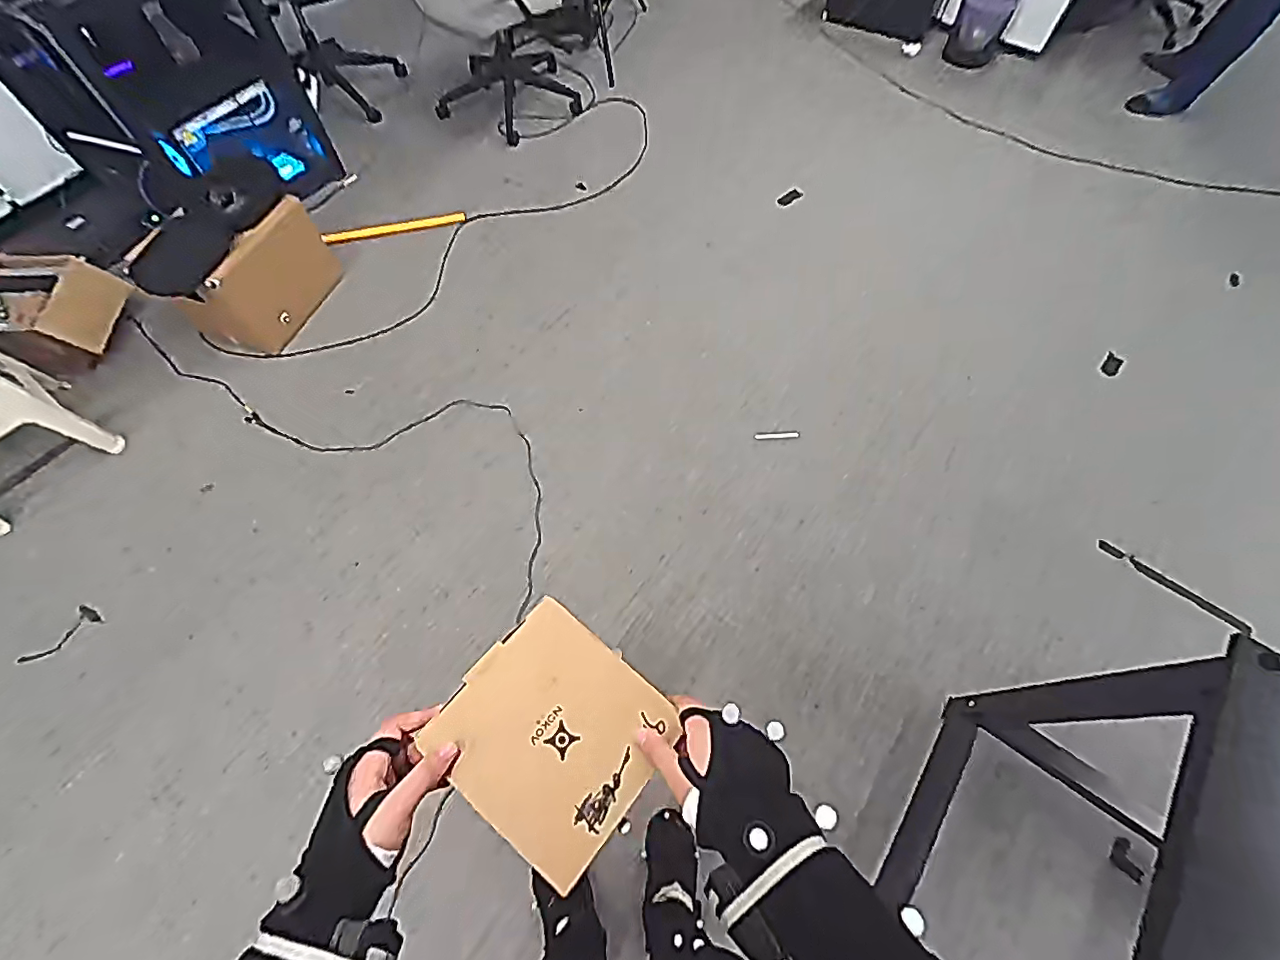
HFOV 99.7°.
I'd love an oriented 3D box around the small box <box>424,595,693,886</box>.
[{"bbox_3d":[-0.077,0.246,0.542,0.179,0.176,0.168,40,69,9],"label":"small box"}]
